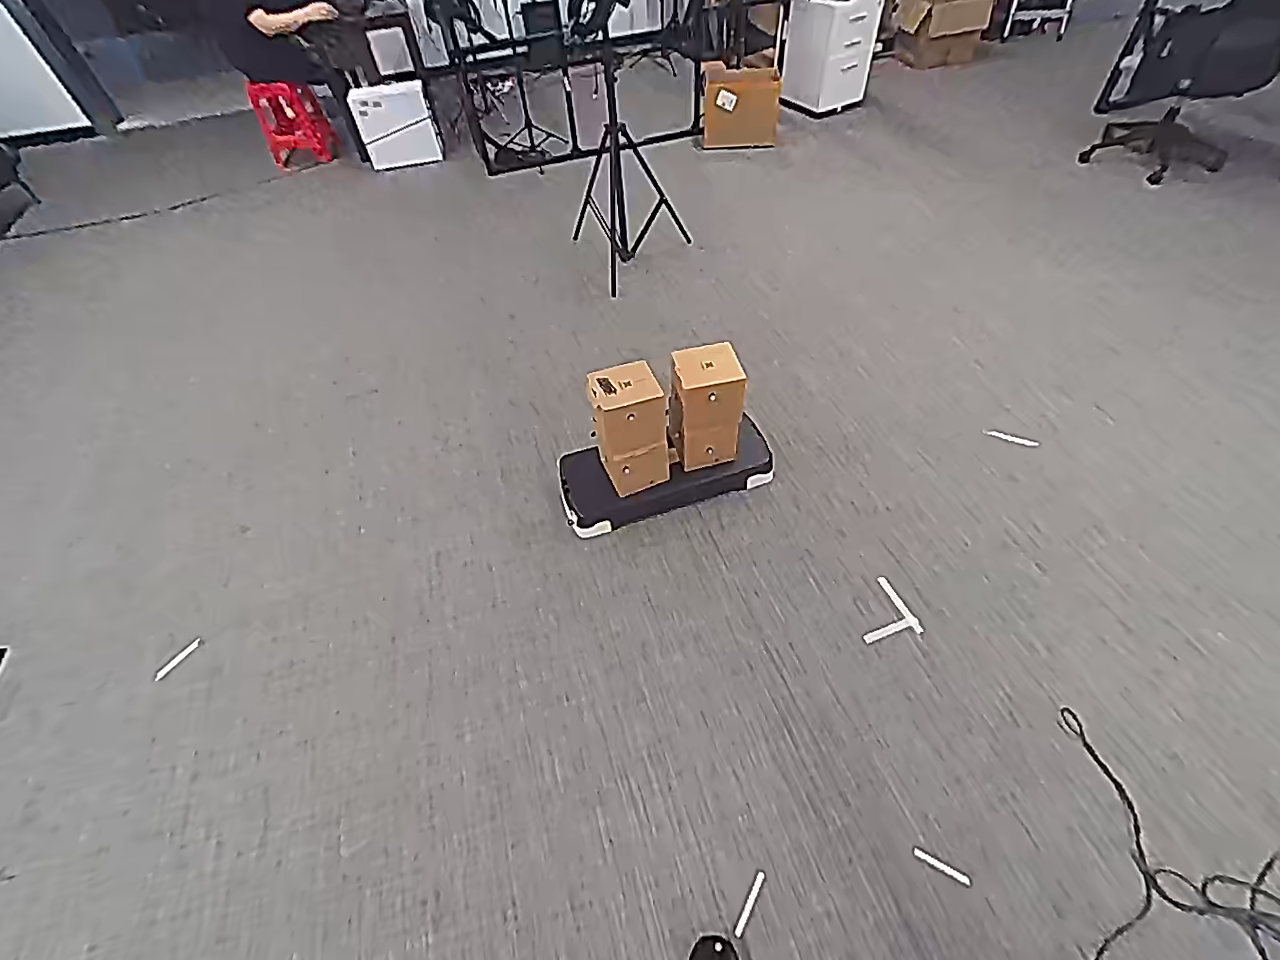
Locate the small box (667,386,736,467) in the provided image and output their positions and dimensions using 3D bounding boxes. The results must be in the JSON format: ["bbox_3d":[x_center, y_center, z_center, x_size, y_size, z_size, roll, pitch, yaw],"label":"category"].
[{"bbox_3d":[0.188,-0.157,1.668,0.168,0.176,0.179,-13,51,-6],"label":"small box"}]
